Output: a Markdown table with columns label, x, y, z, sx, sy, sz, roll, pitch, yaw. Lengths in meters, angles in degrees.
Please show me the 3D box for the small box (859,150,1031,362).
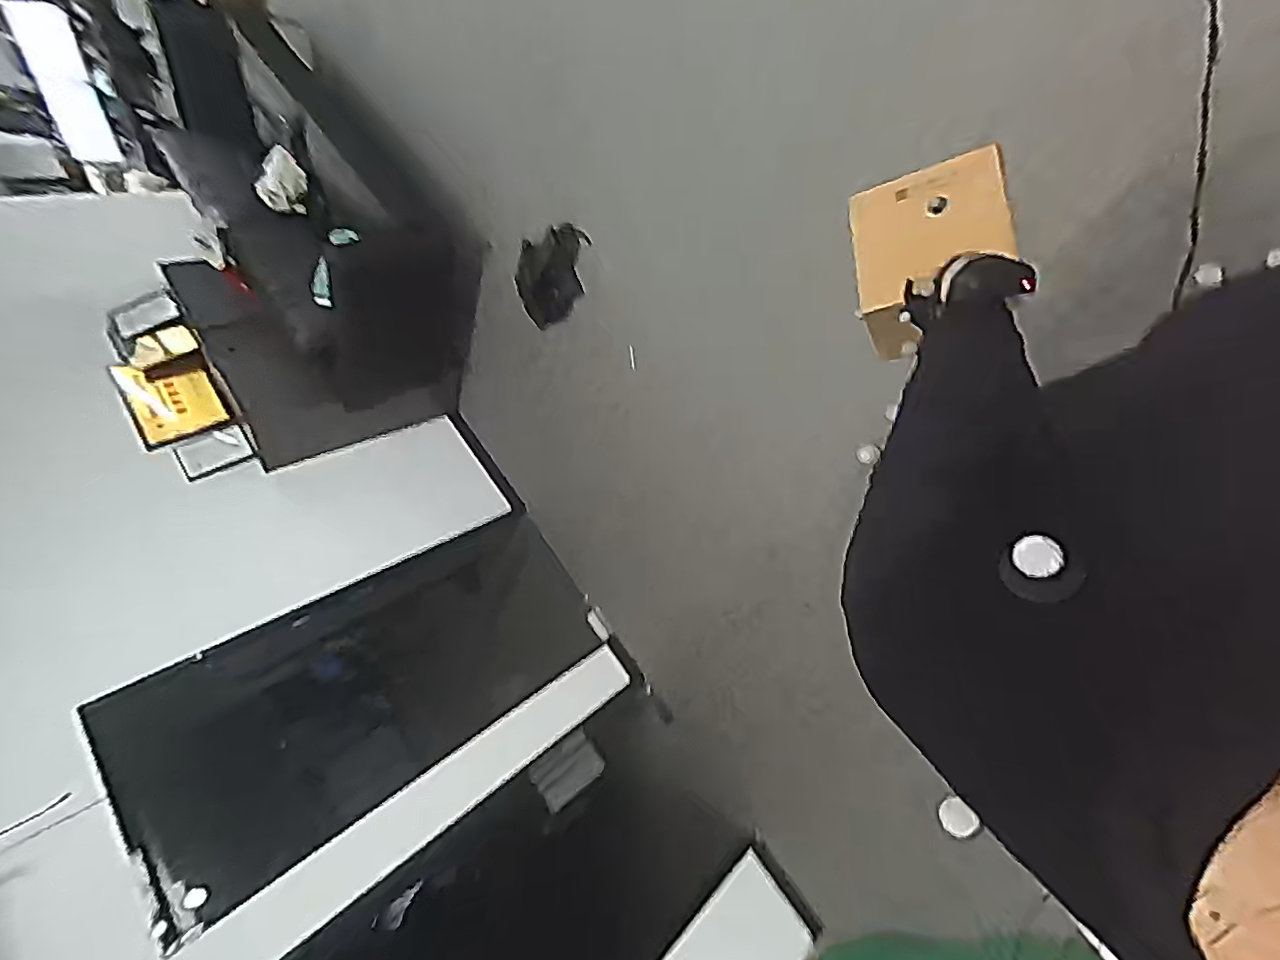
| label | x | y | z | sx | sy | sz | roll | pitch | yaw |
| --- | --- | --- | --- | --- | --- | --- | --- | --- | --- |
| small box | 0.395 | -0.281 | 0.711 | 0.168 | 0.179 | 0.176 | -10 | 74 | 31 |
